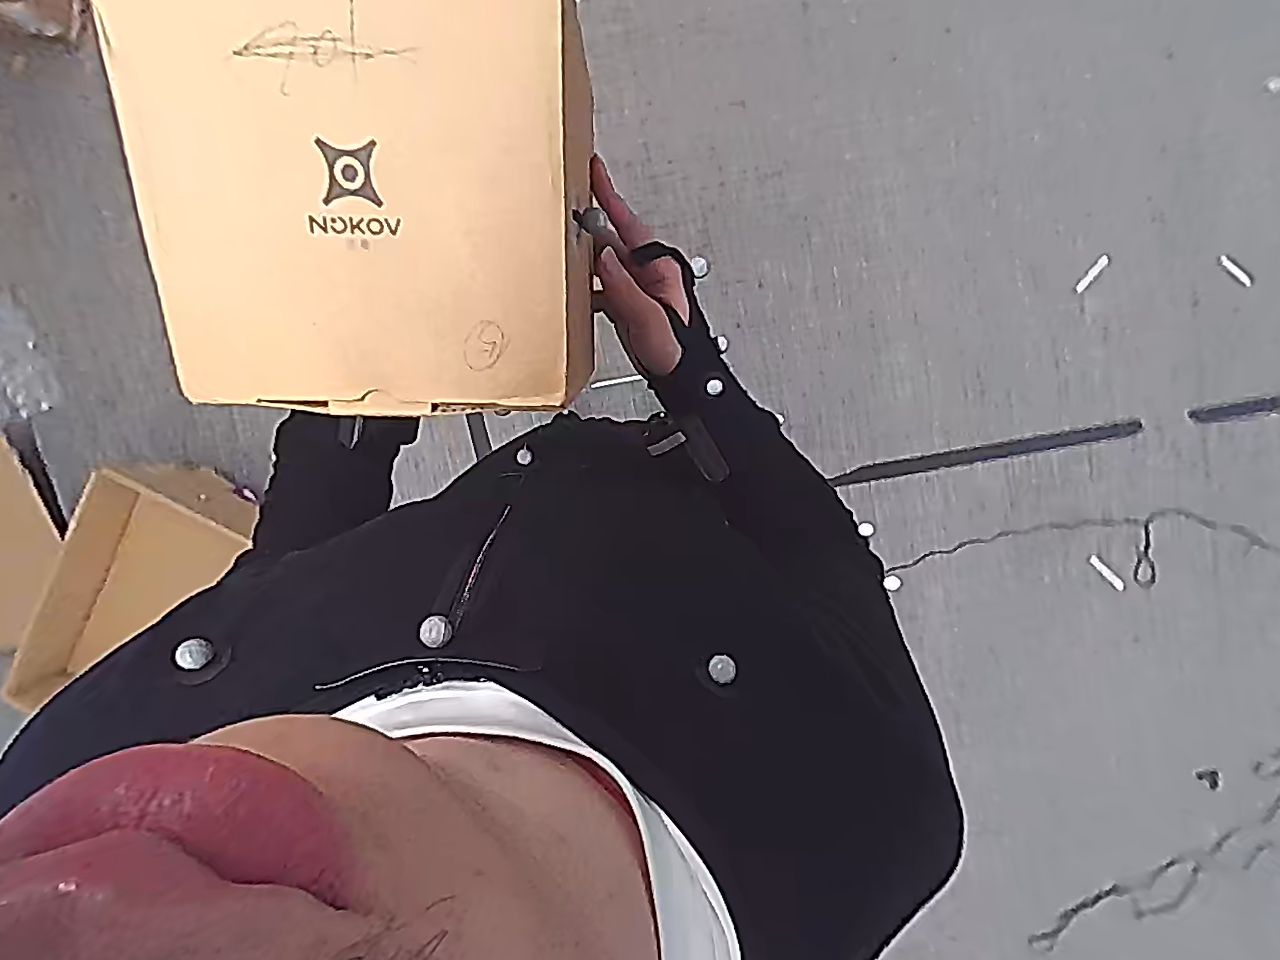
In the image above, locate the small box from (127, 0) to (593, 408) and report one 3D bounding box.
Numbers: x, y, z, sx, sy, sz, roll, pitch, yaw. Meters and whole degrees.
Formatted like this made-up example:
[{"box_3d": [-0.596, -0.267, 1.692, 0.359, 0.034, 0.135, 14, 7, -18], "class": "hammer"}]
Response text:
[{"box_3d": [-0.113, -0.142, 0.298, 0.168, 0.176, 0.179, 2, 106, -2], "class": "small box"}]
